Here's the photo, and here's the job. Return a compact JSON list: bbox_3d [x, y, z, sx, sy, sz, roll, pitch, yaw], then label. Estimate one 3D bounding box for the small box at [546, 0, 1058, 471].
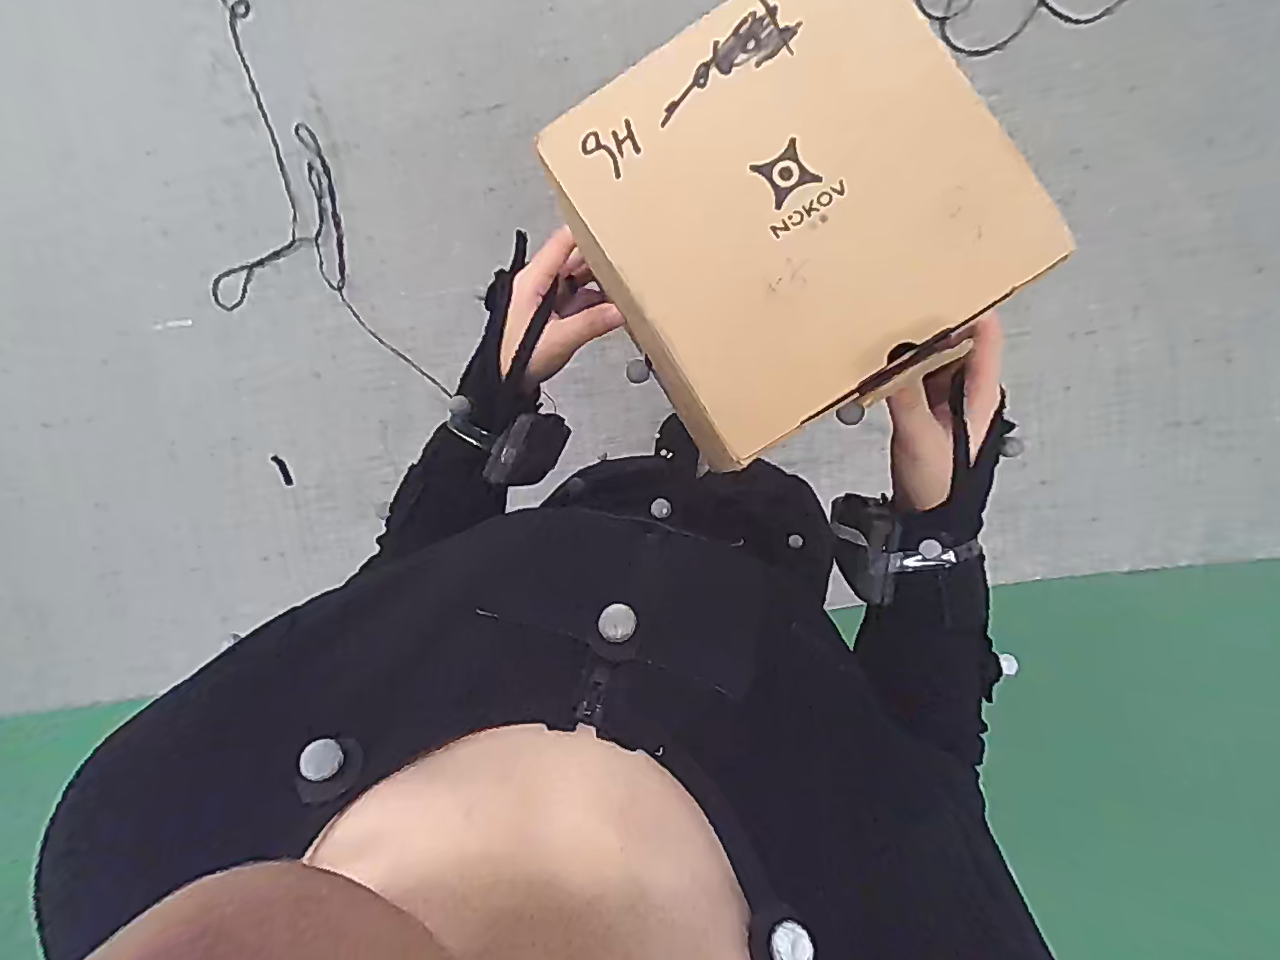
[{"bbox_3d":[0.075,-0.120,0.319,0.168,0.176,0.179,-31,88,4],"label":"small box"}]
